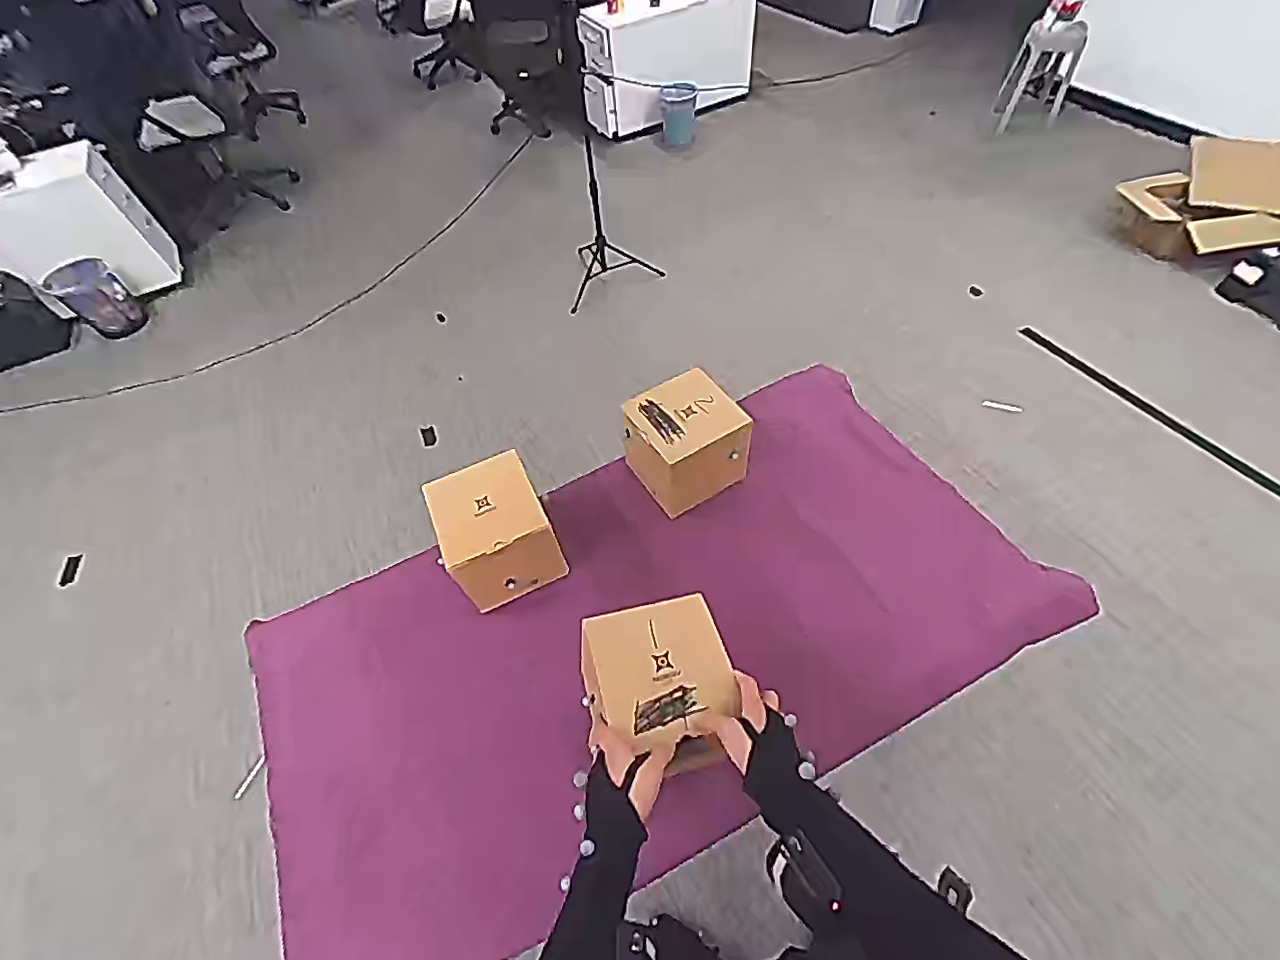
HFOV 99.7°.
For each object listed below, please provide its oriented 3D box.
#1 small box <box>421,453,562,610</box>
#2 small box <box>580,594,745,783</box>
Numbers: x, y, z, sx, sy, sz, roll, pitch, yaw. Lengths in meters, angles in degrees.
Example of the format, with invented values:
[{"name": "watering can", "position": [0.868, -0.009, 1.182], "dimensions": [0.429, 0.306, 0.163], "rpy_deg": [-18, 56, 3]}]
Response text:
[{"name": "small box", "position": [-0.248, 0.091, 0.926], "dimensions": [0.168, 0.176, 0.179], "rpy_deg": [-24, 57, -12]}, {"name": "small box", "position": [0.018, 0.281, 0.716], "dimensions": [0.168, 0.176, 0.179], "rpy_deg": [-9, 52, -14]}]
